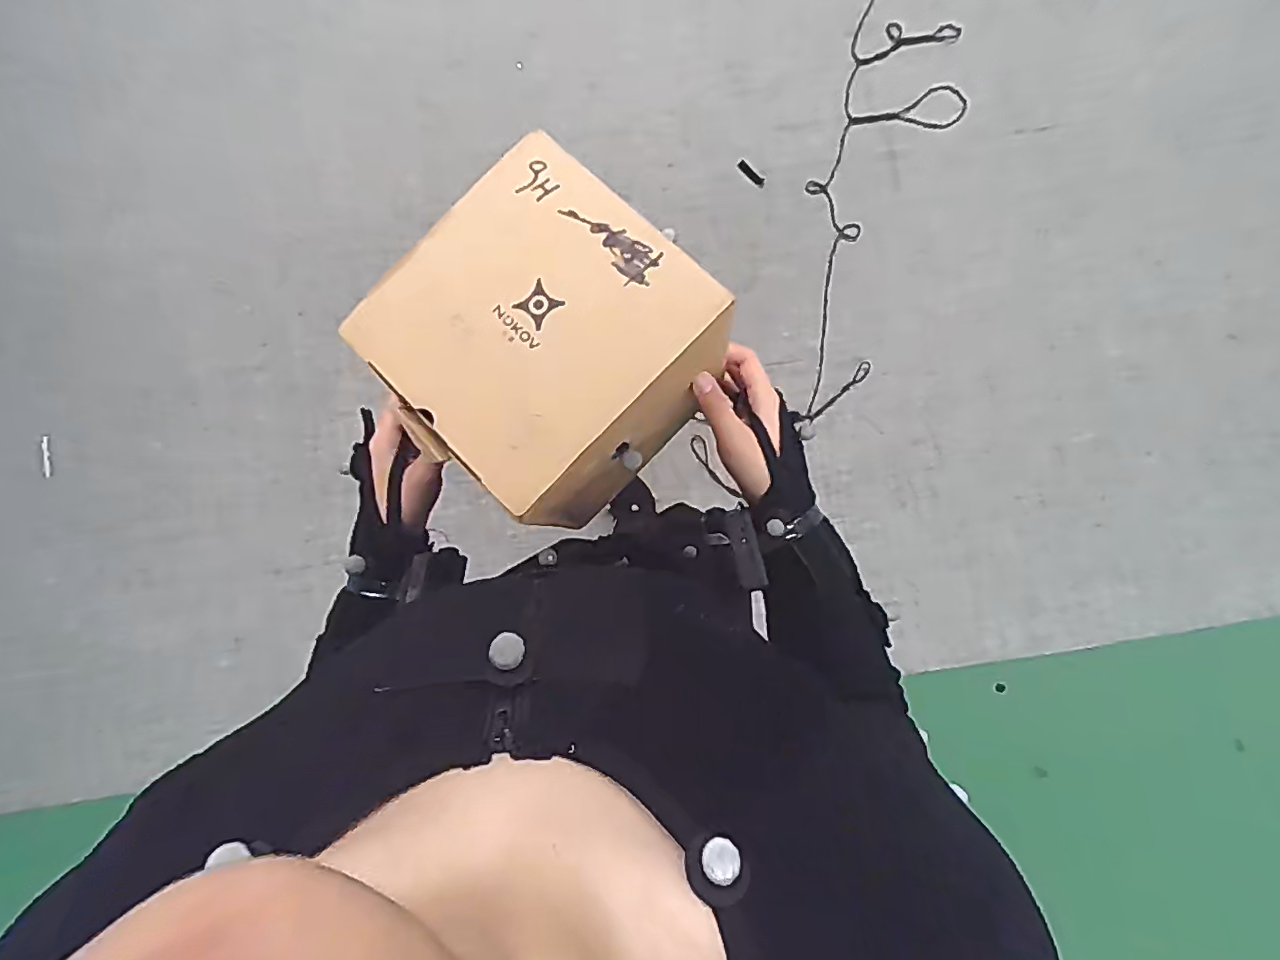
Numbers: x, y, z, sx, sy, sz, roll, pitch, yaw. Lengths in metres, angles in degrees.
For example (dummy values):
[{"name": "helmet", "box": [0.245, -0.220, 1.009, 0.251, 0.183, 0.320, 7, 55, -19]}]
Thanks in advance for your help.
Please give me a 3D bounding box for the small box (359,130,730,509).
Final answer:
[{"name": "small box", "box": [-0.052, -0.093, 0.402, 0.168, 0.176, 0.179, 44, 90, 9]}]
